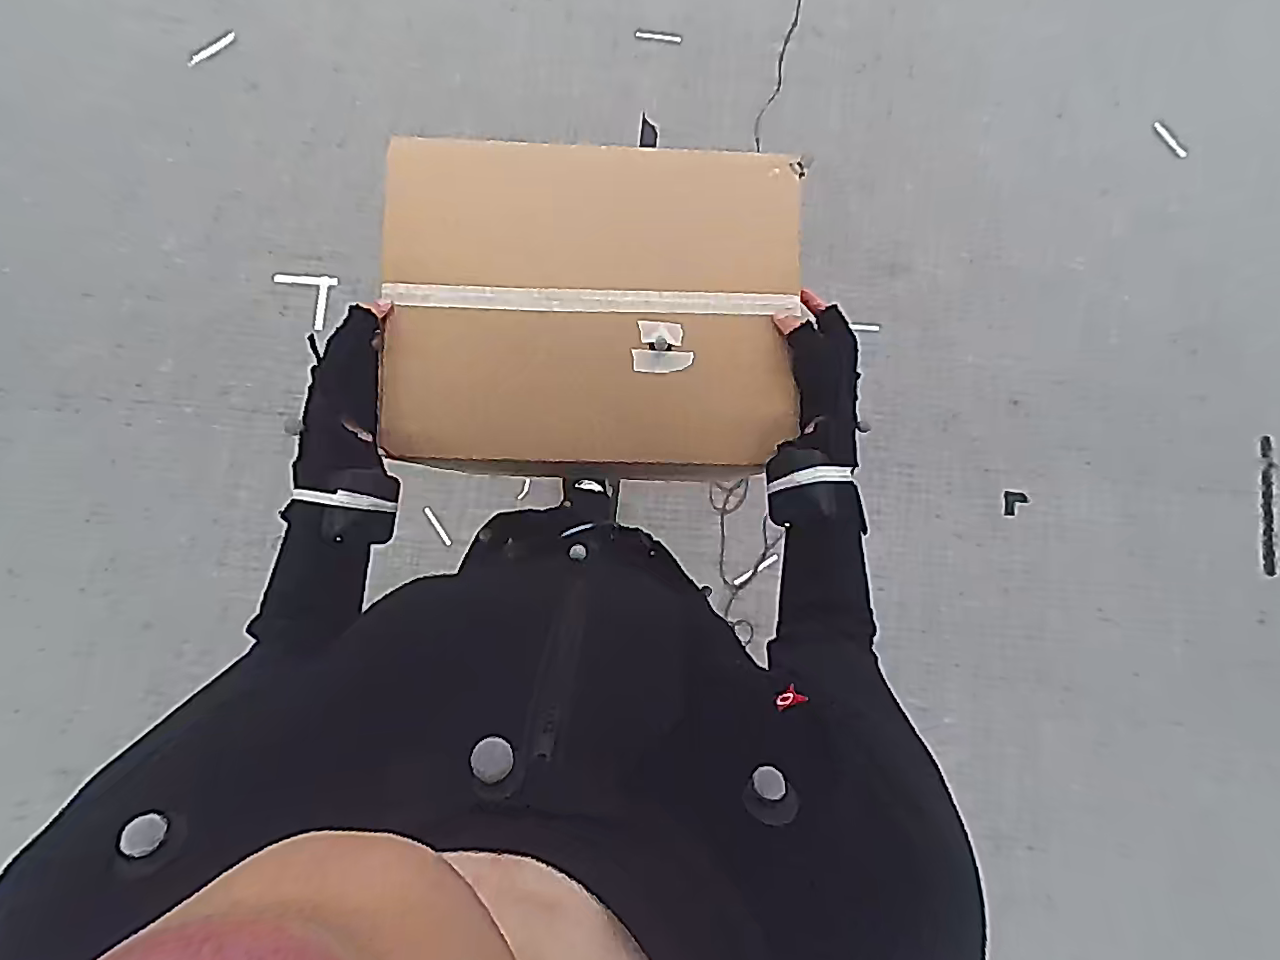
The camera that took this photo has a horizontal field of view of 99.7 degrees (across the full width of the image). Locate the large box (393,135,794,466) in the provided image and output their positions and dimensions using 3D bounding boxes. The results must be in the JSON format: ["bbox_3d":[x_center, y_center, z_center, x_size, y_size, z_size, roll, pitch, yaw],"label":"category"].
[{"bbox_3d":[-0.050,-0.183,0.689,0.408,0.320,0.320,2,89,-2],"label":"large box"}]
